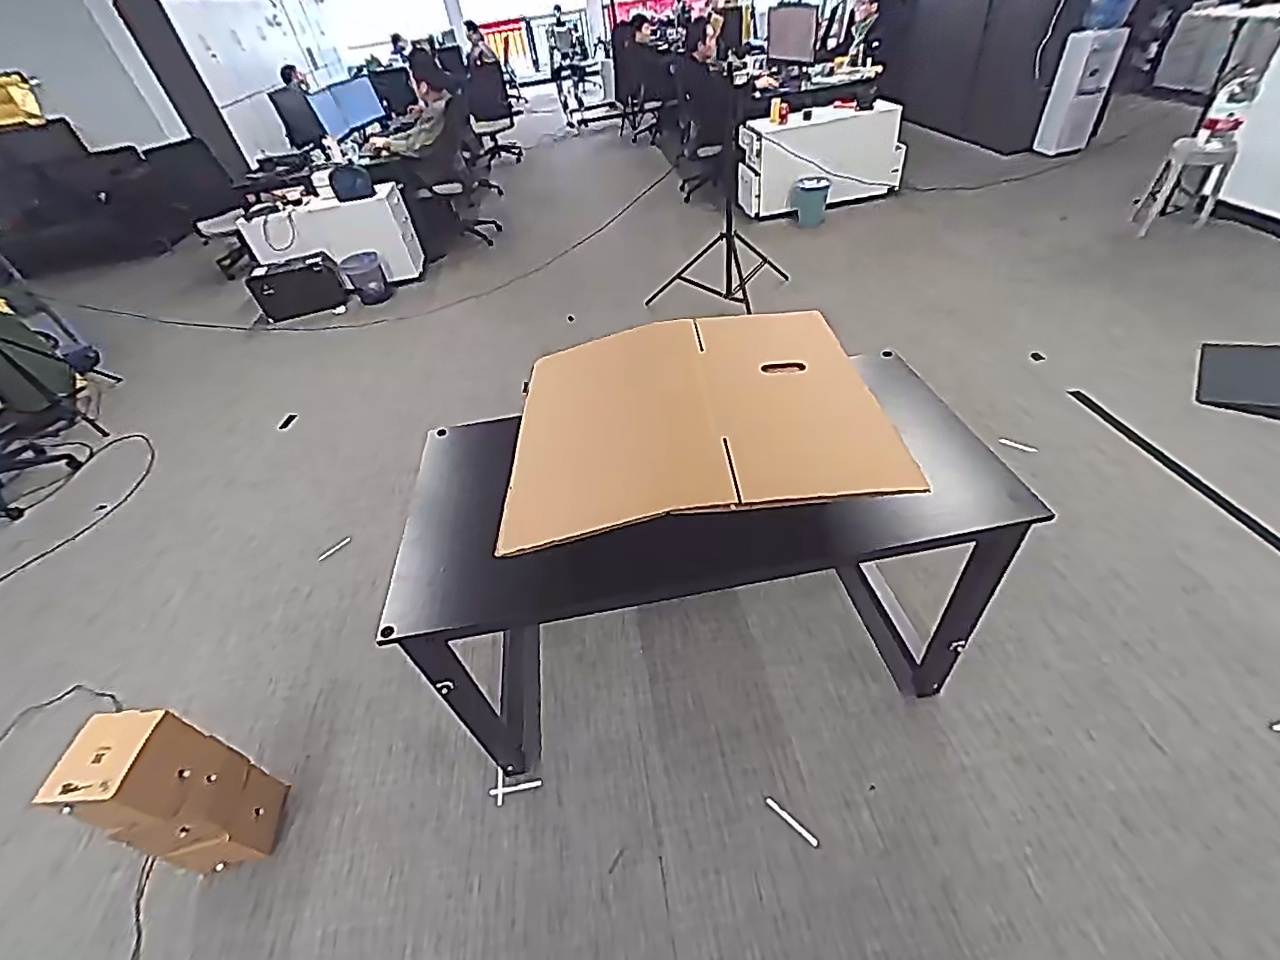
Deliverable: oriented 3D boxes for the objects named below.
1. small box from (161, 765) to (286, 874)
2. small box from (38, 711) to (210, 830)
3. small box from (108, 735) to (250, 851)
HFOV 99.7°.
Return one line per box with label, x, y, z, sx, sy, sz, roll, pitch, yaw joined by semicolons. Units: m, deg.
small box;-1.036;0.859;1.368;0.168;0.176;0.179;-13;44;-4
small box;-1.075;0.618;1.152;0.168;0.176;0.179;-5;42;4
small box;-1.058;0.737;1.263;0.168;0.176;0.179;-14;42;-7
